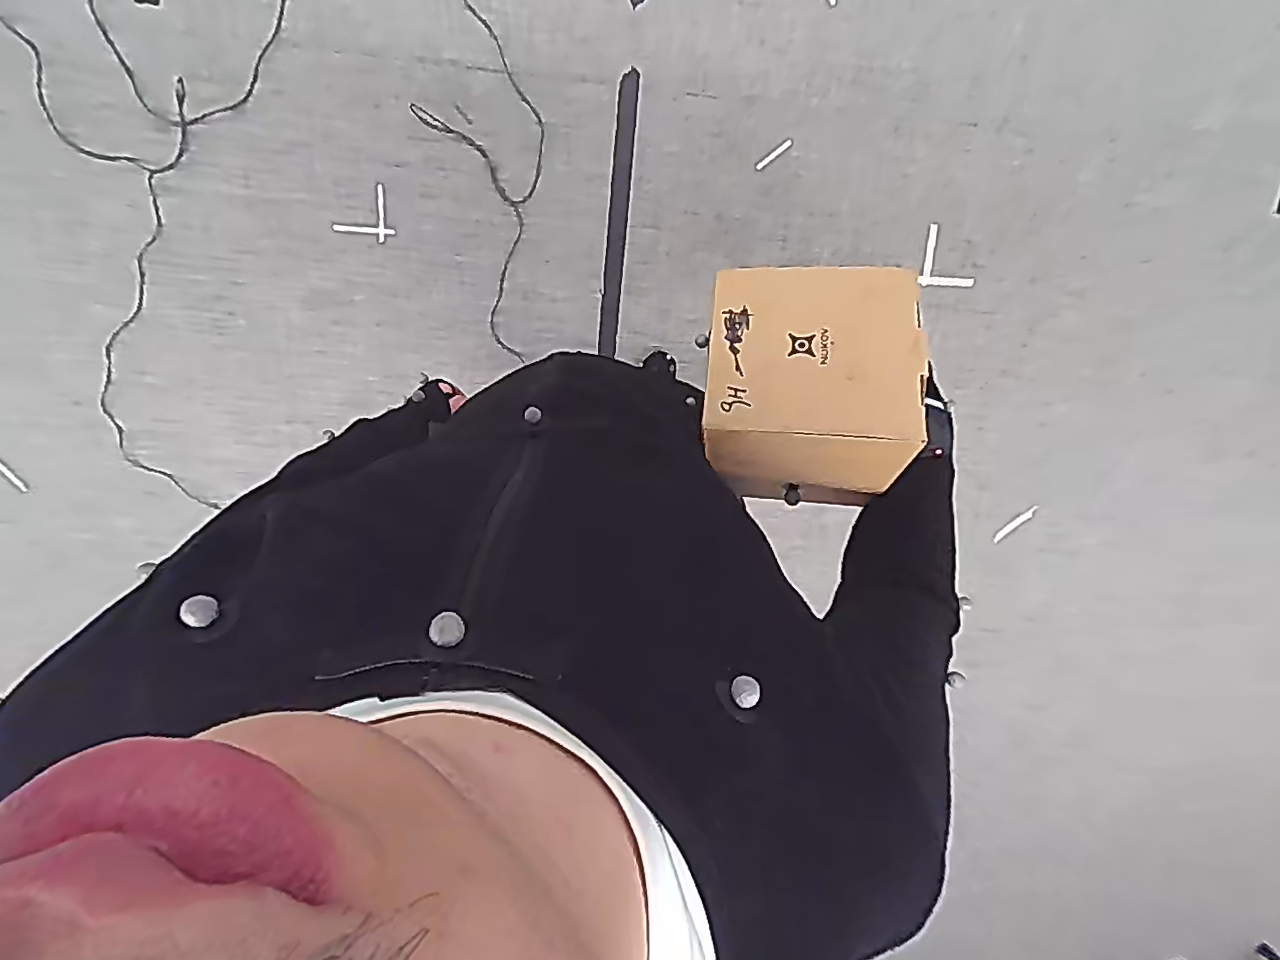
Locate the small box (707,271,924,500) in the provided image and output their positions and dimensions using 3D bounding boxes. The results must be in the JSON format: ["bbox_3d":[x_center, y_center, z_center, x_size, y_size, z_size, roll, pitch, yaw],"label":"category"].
[{"bbox_3d":[0.163,-0.085,0.547,0.179,0.176,0.168,4,69,9],"label":"small box"}]
